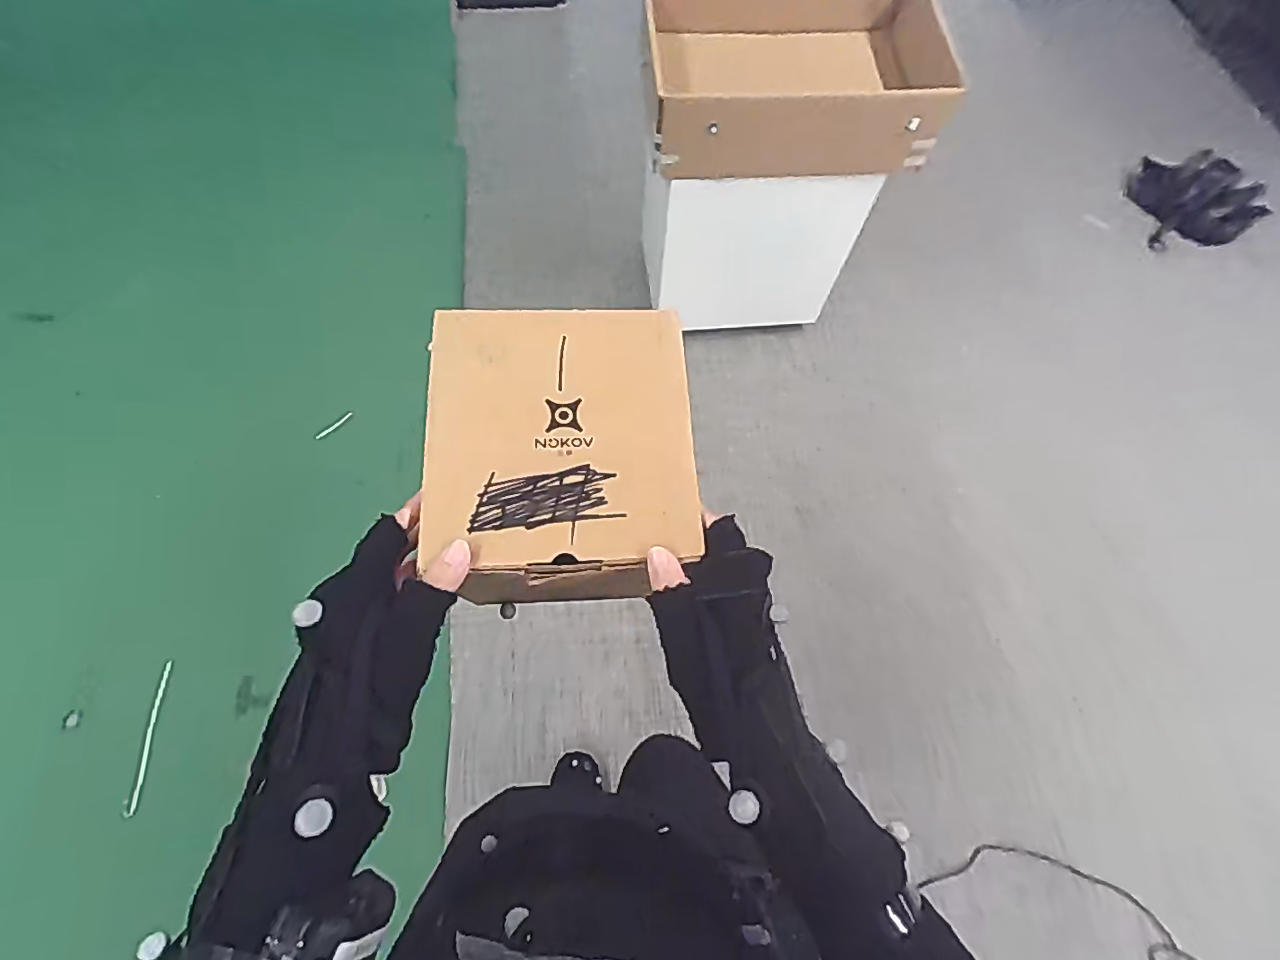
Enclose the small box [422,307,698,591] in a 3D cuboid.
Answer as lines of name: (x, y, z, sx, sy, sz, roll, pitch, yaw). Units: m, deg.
small box: (-0.053, -0.010, 0.418, 0.168, 0.176, 0.179, -1, 70, -5)
